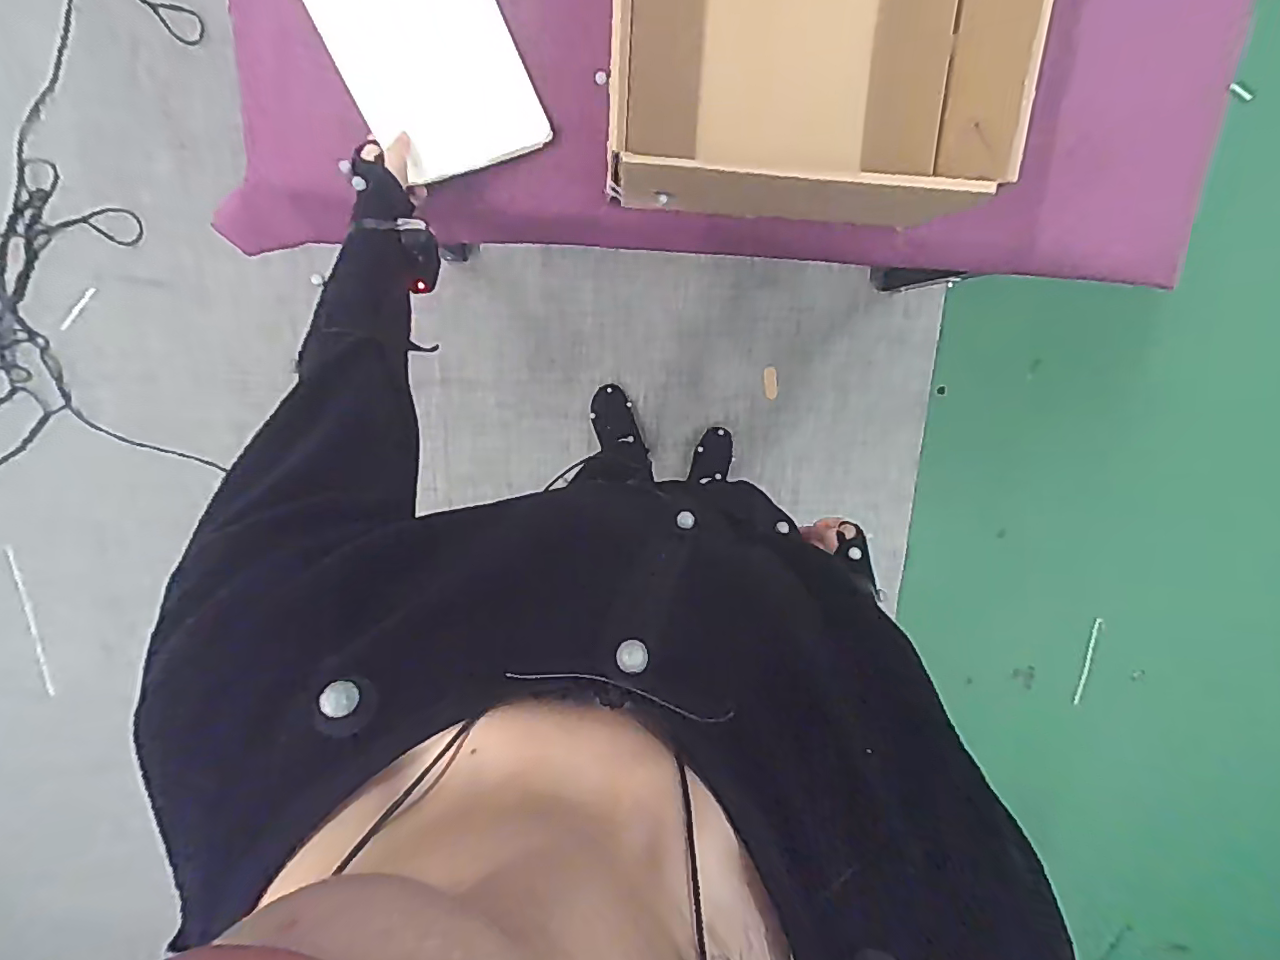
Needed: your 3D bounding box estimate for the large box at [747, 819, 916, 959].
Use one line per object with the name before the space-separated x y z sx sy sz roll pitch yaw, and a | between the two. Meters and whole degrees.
large box | 0.598 1.371 1.724 0.408 0.320 0.320 -13 105 -2
